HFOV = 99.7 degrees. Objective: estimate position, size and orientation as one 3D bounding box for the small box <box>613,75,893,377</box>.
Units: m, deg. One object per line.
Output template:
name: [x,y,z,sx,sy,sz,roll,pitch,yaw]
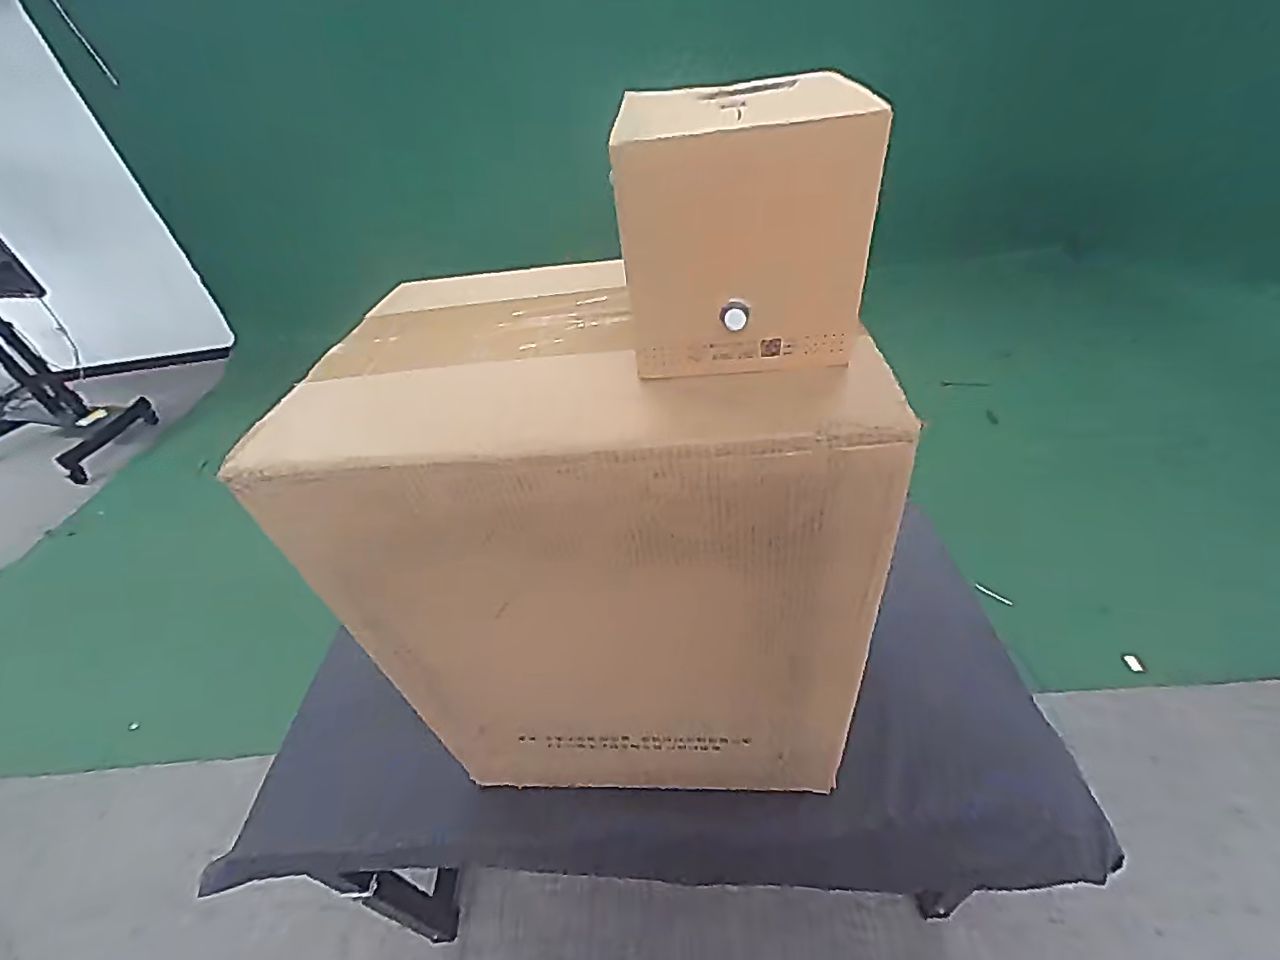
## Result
small box: [0.077,-0.200,0.431,0.168,0.176,0.179,-2,44,6]
